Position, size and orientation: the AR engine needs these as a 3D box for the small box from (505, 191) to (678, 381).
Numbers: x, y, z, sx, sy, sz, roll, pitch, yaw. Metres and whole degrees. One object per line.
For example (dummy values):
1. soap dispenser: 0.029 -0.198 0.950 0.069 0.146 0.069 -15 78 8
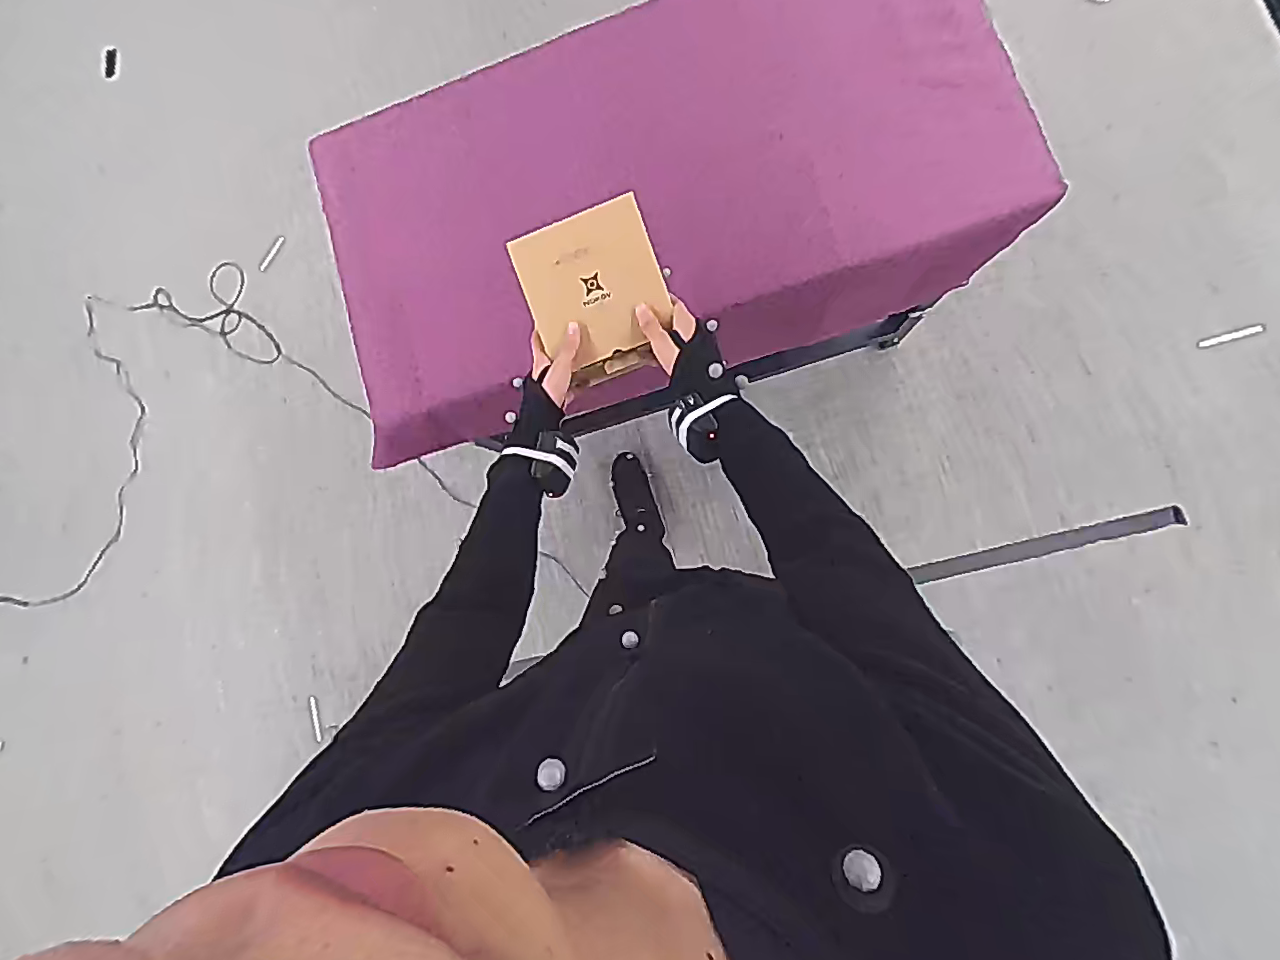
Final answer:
1. small box: -0.052 -0.239 0.722 0.168 0.176 0.179 -20 94 5
